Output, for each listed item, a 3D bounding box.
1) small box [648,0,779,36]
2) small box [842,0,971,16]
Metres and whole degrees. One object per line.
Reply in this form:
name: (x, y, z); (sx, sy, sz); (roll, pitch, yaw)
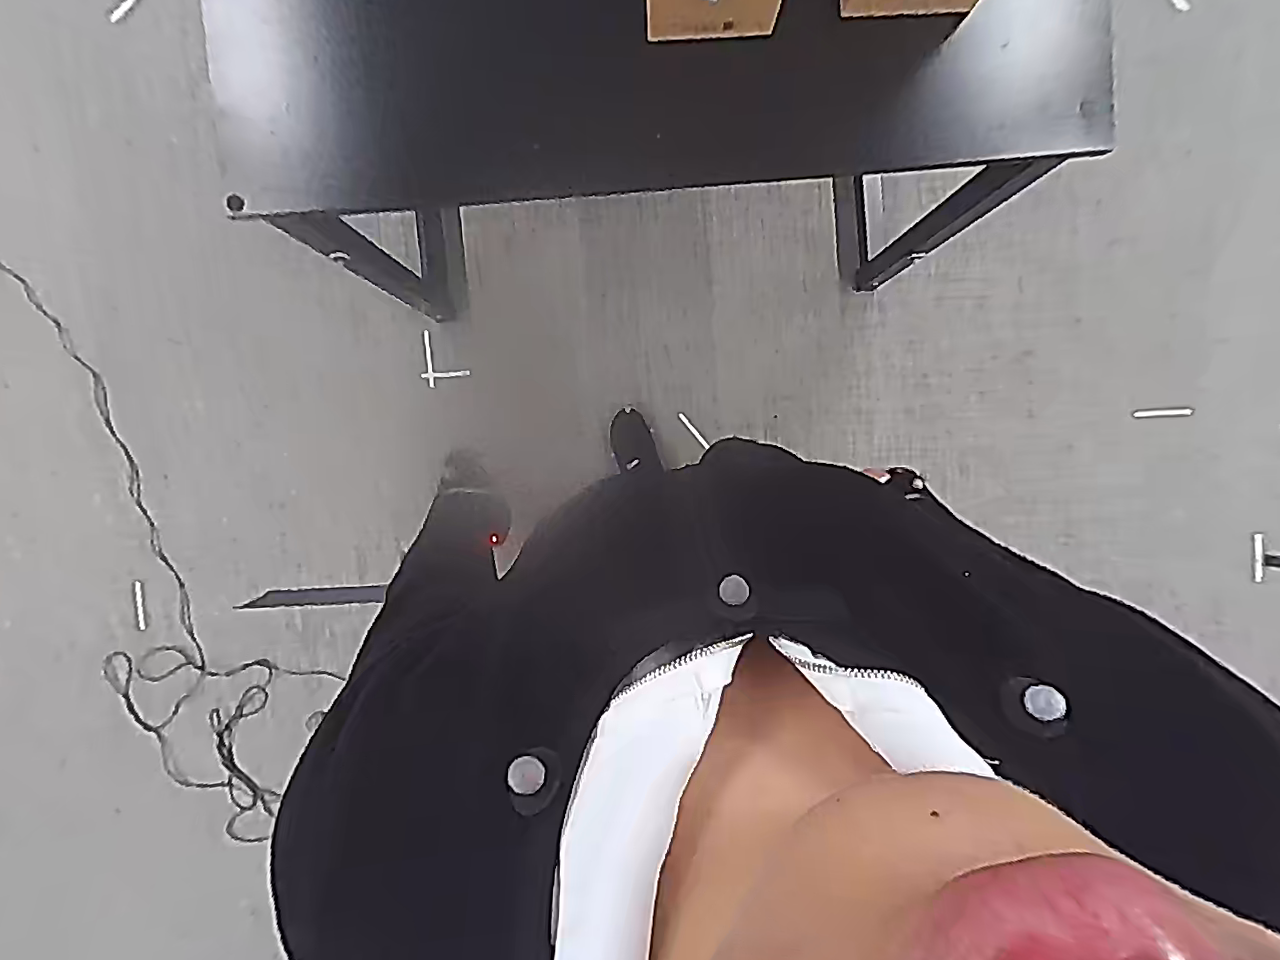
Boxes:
small box: (0.092, -0.673, 0.645); (0.168, 0.176, 0.179); (-2, 94, 0)
small box: (0.351, -0.698, 0.641); (0.179, 0.176, 0.168); (-2, 94, 0)
